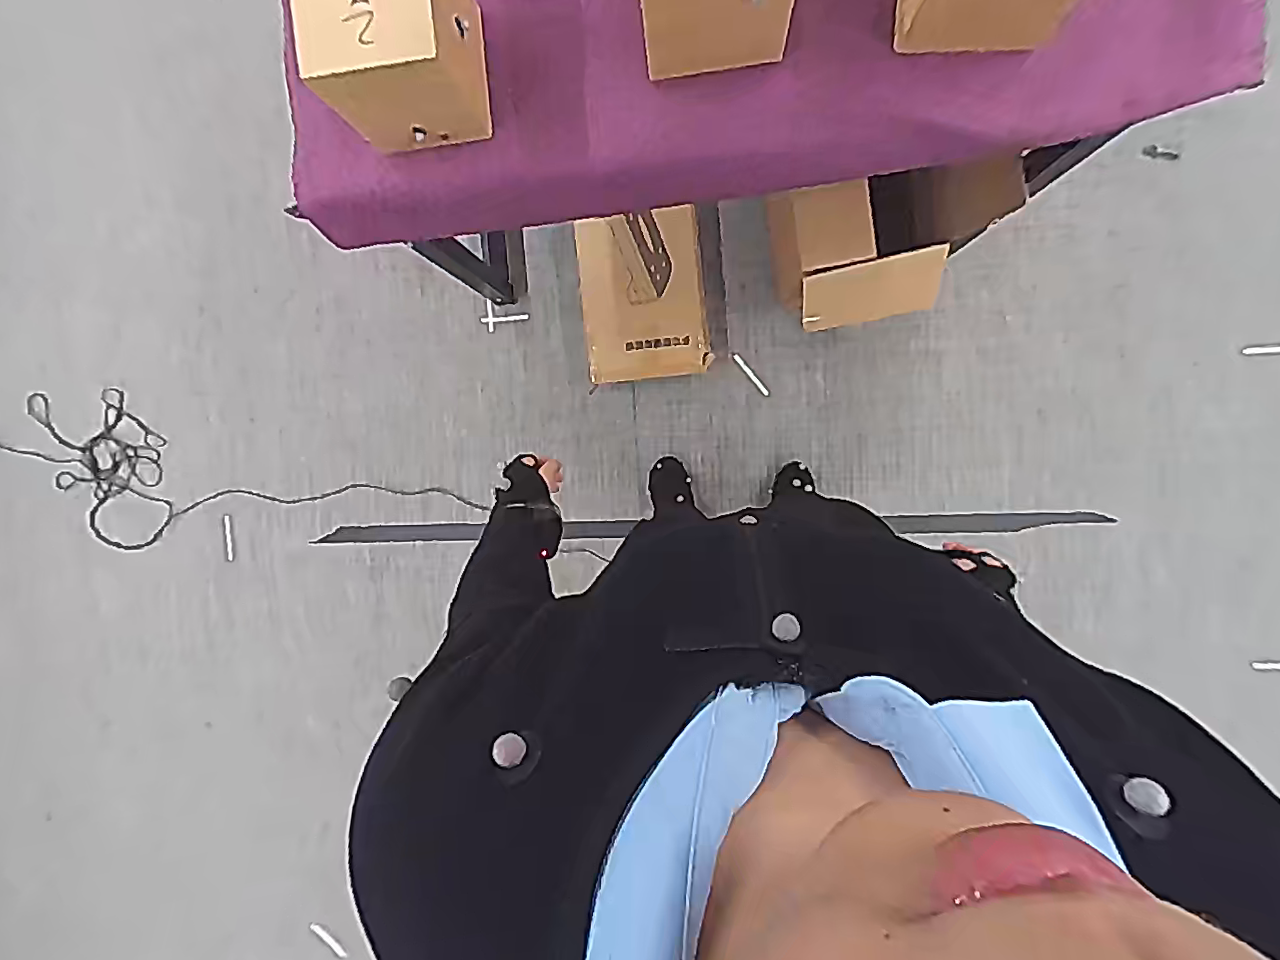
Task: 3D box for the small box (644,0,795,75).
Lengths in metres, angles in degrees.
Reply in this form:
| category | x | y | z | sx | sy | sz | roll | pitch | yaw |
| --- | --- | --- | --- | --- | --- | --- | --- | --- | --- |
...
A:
| category | x | y | z | sx | sy | sz | roll | pitch | yaw |
| --- | --- | --- | --- | --- | --- | --- | --- | --- | --- |
| small box | 0.089 | -0.617 | 0.625 | 0.179 | 0.176 | 0.168 | -5 | 92 | 6 |

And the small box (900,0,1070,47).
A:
| category | x | y | z | sx | sy | sz | roll | pitch | yaw |
| --- | --- | --- | --- | --- | --- | --- | --- | --- | --- |
| small box | 0.406 | -0.619 | 0.594 | 0.179 | 0.176 | 0.168 | 2 | 95 | 5 |
